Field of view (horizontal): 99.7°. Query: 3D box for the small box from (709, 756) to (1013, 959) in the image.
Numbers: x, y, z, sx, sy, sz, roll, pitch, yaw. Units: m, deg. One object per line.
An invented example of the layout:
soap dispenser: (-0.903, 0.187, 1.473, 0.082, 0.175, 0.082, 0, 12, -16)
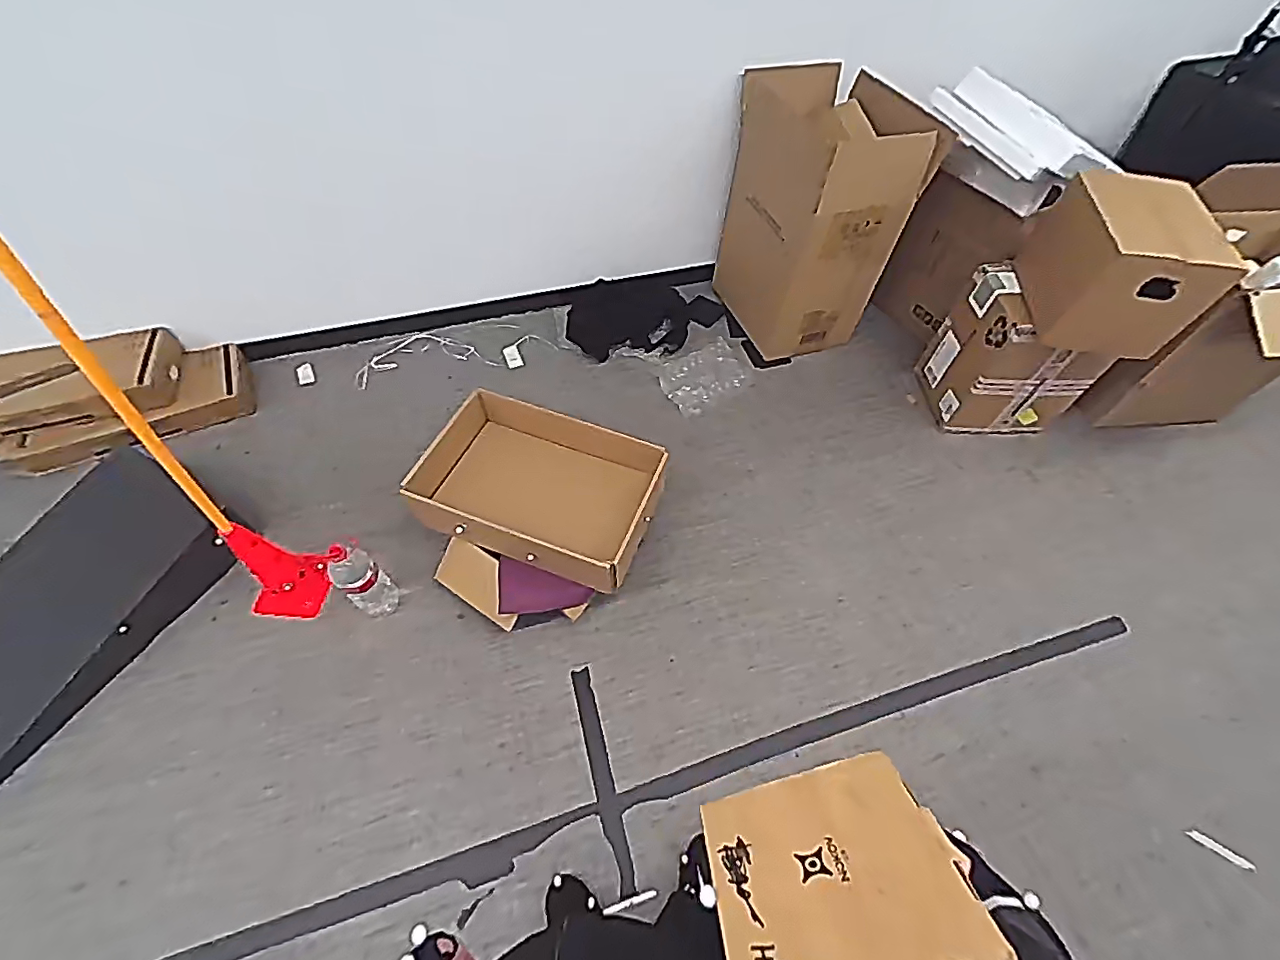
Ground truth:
small box: (0.171, 0.370, 0.438, 0.179, 0.176, 0.168, -18, 14, 3)
